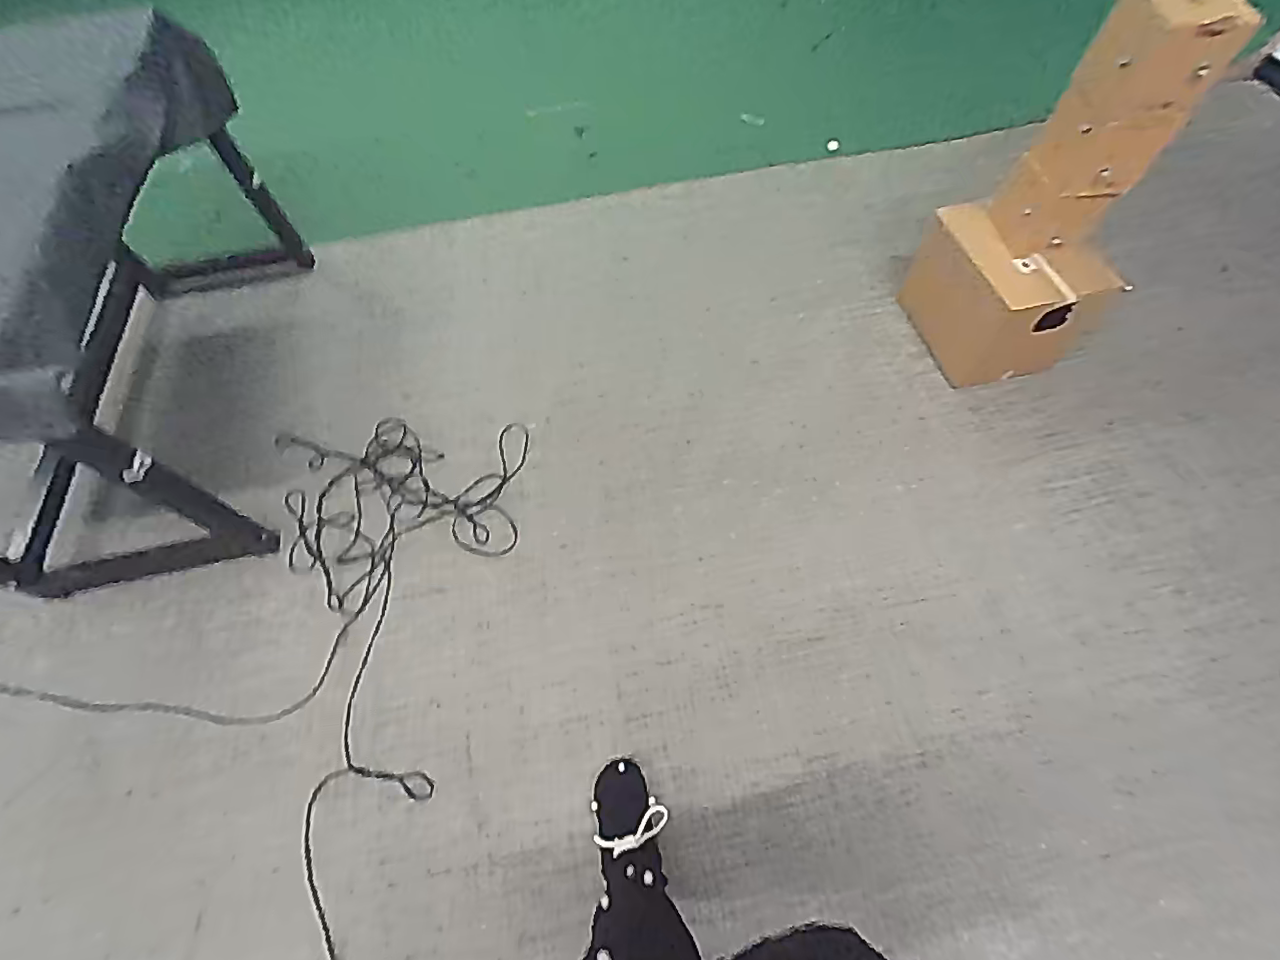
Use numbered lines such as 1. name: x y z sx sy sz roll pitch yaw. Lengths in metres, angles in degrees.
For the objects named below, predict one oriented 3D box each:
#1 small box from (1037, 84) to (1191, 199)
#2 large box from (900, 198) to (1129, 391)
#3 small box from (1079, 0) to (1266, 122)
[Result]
1. small box: 1.045 -0.762 1.213 0.168 0.176 0.179 -3 63 0
2. large box: 1.026 -0.525 1.548 0.320 0.320 0.408 -12 63 -3
3. small box: 1.033 -0.838 1.070 0.168 0.176 0.179 -1 62 0
